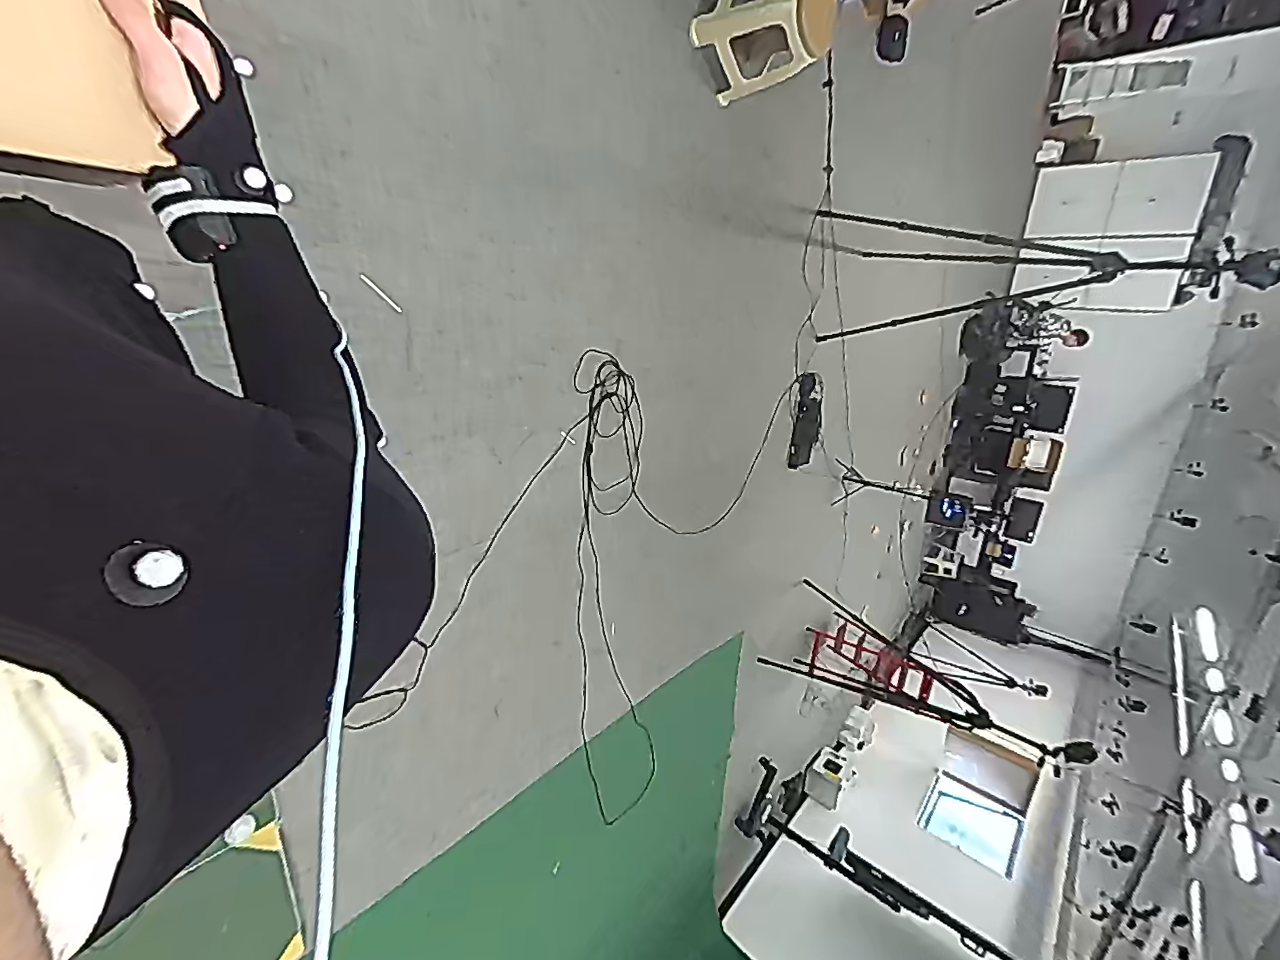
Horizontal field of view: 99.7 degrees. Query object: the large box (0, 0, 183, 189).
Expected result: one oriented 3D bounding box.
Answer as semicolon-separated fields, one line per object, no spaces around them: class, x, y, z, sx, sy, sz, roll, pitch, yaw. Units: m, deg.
large box;-0.615;-0.396;0.347;0.408;0.320;0.320;-18;121;-47
